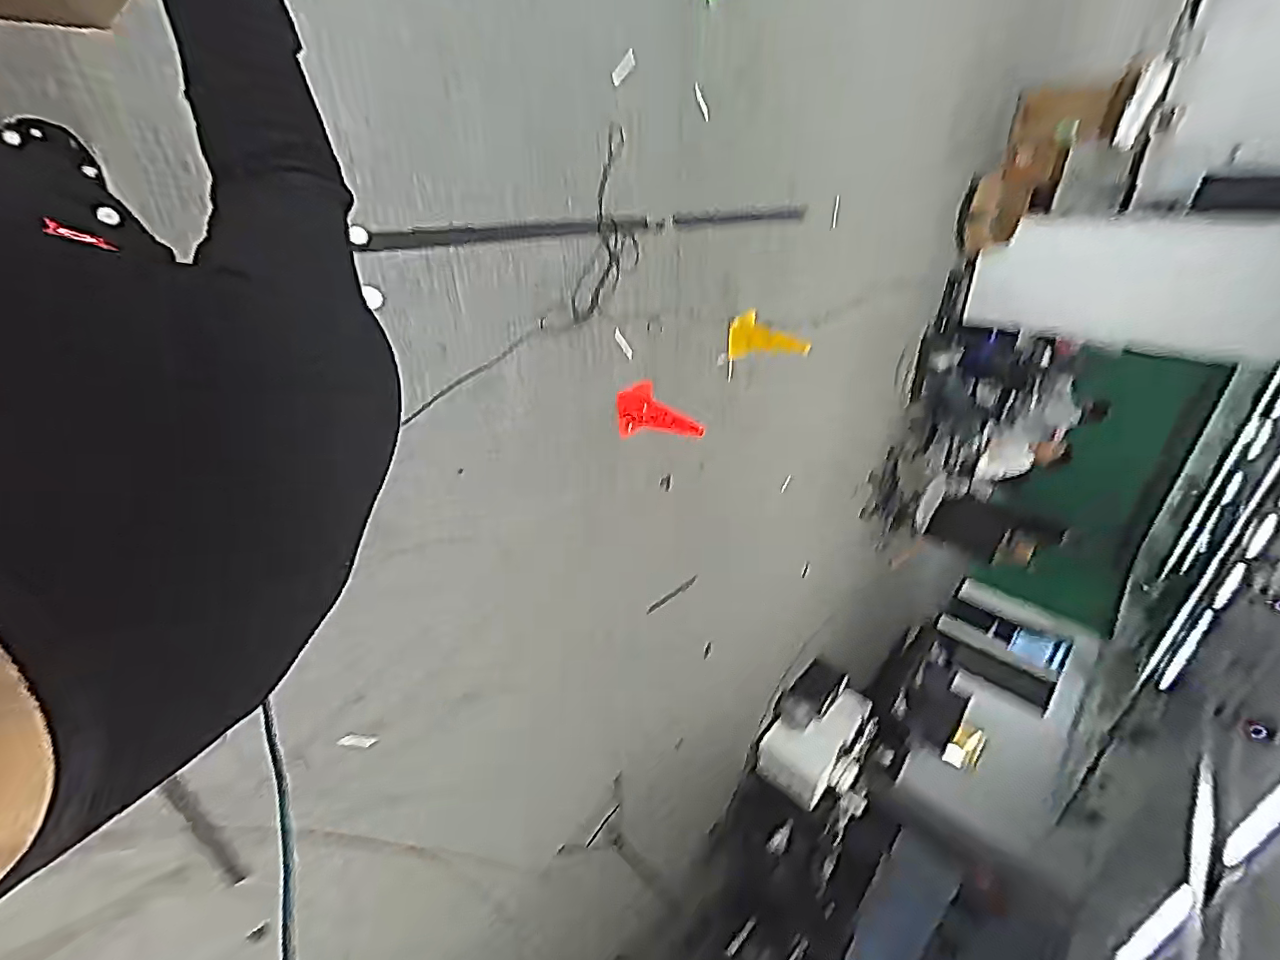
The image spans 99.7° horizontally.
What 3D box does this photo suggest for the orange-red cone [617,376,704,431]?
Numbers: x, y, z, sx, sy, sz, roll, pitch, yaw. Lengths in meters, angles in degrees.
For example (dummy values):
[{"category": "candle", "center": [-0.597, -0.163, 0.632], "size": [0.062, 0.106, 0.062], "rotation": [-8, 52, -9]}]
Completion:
[{"category": "orange-red cone", "center": [0.102, -0.261, 2.127], "size": [0.199, 0.360, 0.198], "rotation": [-31, 132, -38]}]
